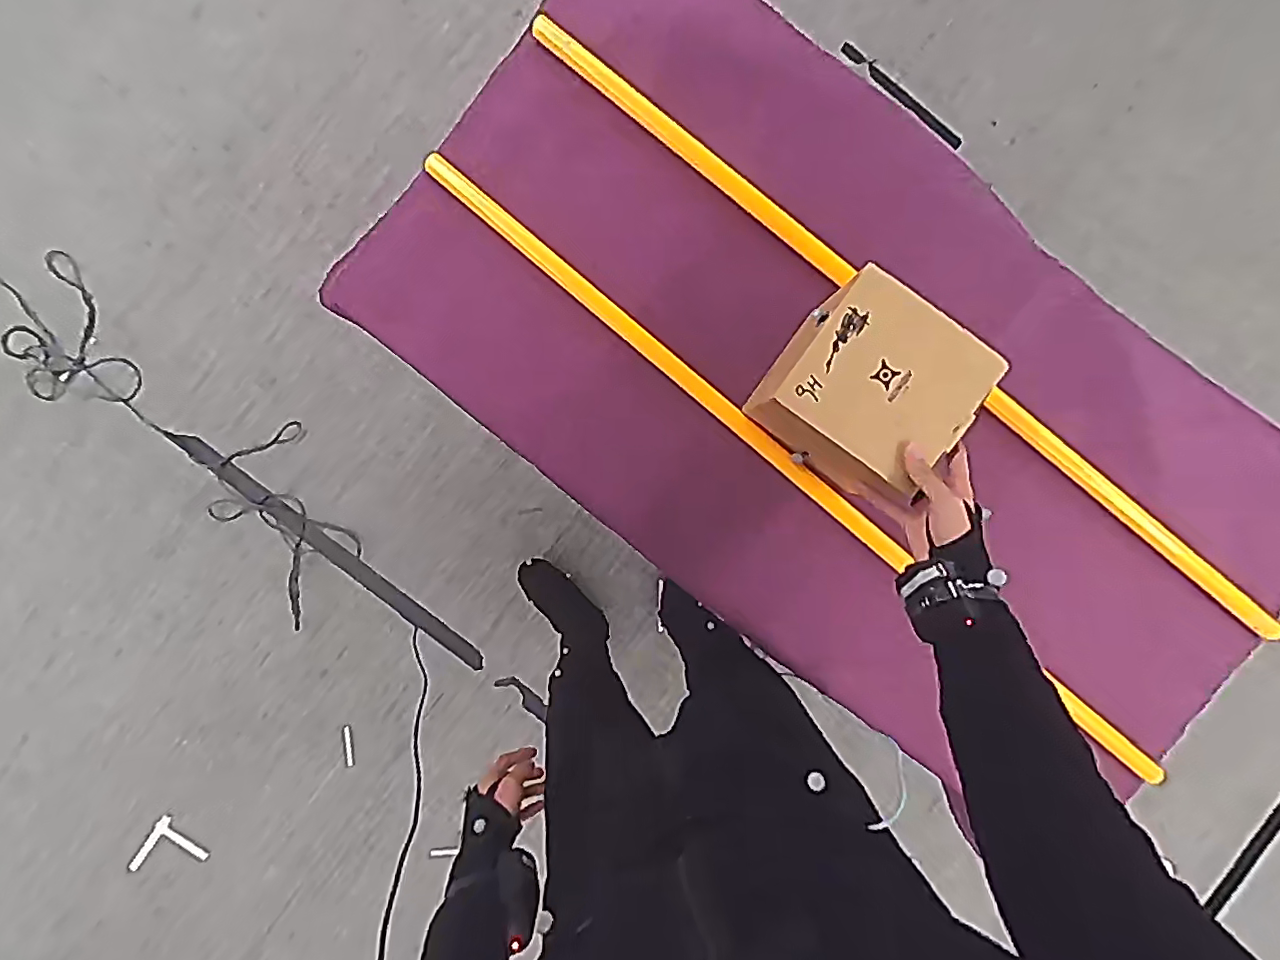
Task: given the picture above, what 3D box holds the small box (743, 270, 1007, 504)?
[{"bbox_3d":[0.242,-0.094,0.606,0.179,0.176,0.168,36,91,-2],"label":"small box"}]
